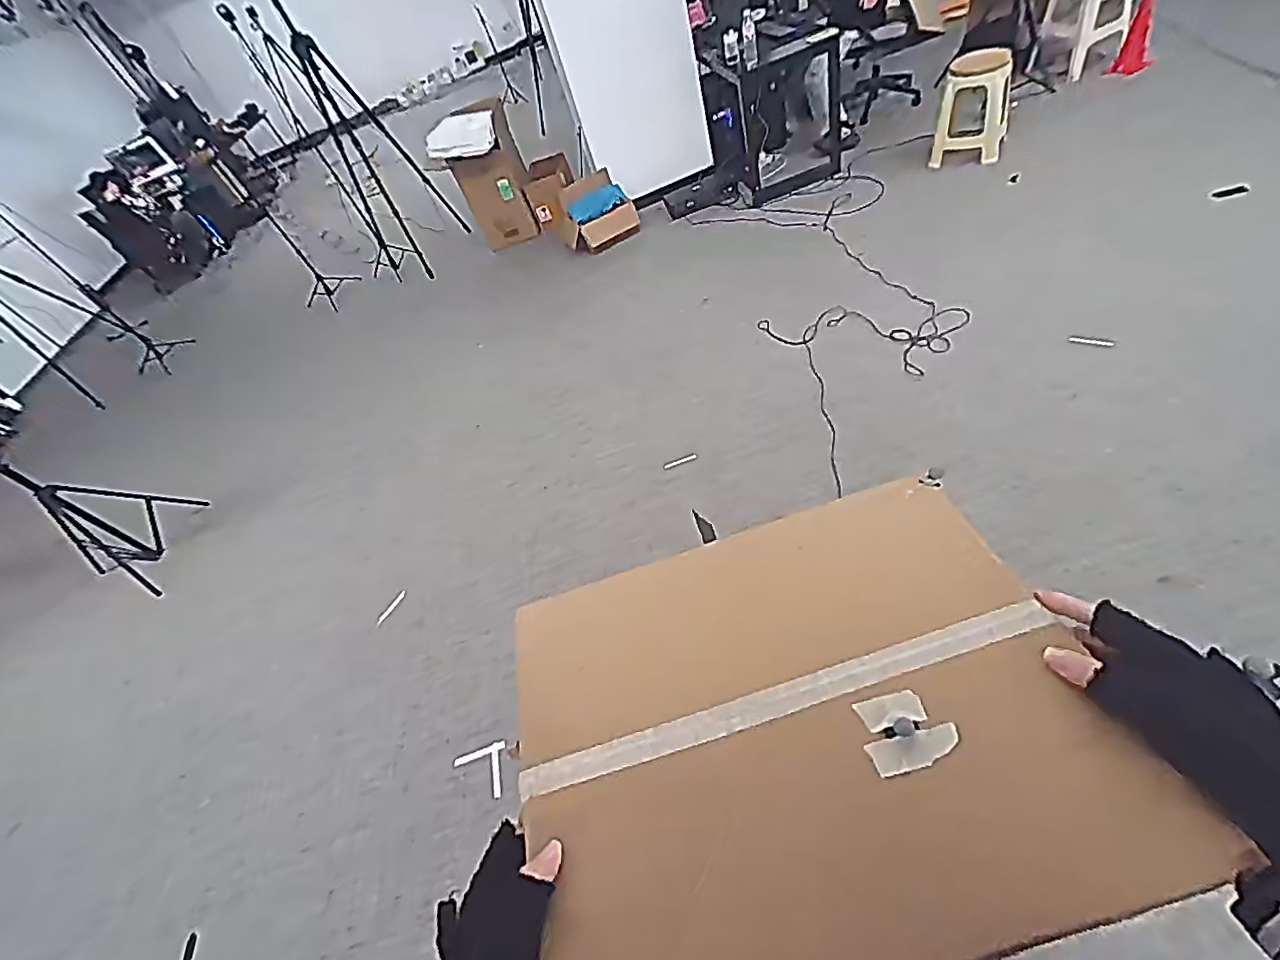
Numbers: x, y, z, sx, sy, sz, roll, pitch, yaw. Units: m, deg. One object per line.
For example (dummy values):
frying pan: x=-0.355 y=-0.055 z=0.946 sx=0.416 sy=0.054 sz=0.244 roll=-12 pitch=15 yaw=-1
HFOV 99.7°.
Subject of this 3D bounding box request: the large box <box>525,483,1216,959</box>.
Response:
large box: x=0.143 y=0.268 z=0.515 sx=0.408 sy=0.320 sz=0.320 roll=-19 pitch=45 yaw=1
